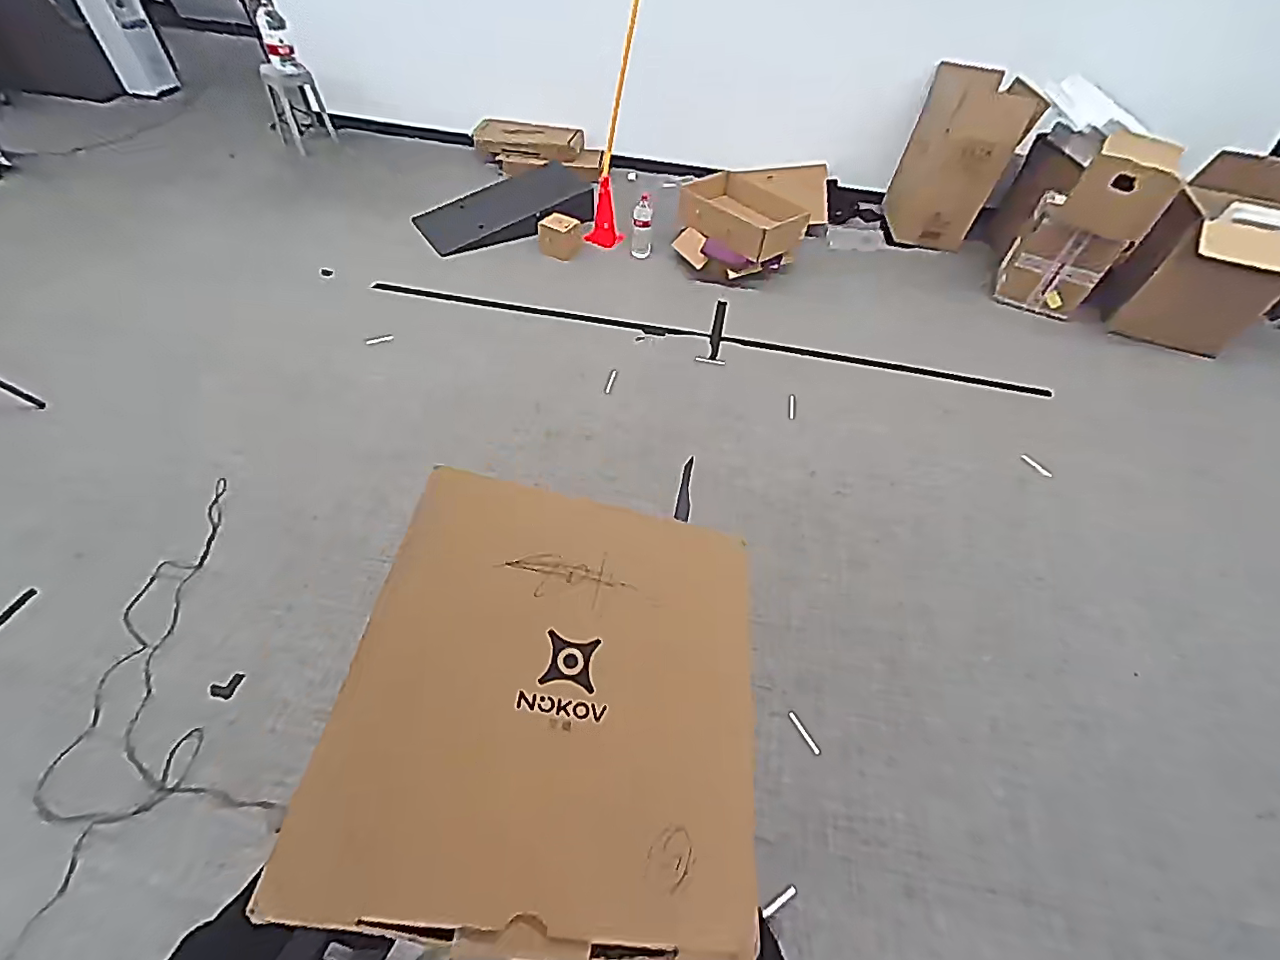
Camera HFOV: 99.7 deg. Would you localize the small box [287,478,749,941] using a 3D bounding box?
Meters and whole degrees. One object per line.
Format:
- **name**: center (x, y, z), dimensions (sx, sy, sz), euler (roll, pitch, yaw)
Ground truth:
- **small box**: center (-0.053, 0.130, 0.300), dimensions (0.168, 0.176, 0.179), euler (14, 51, -11)
